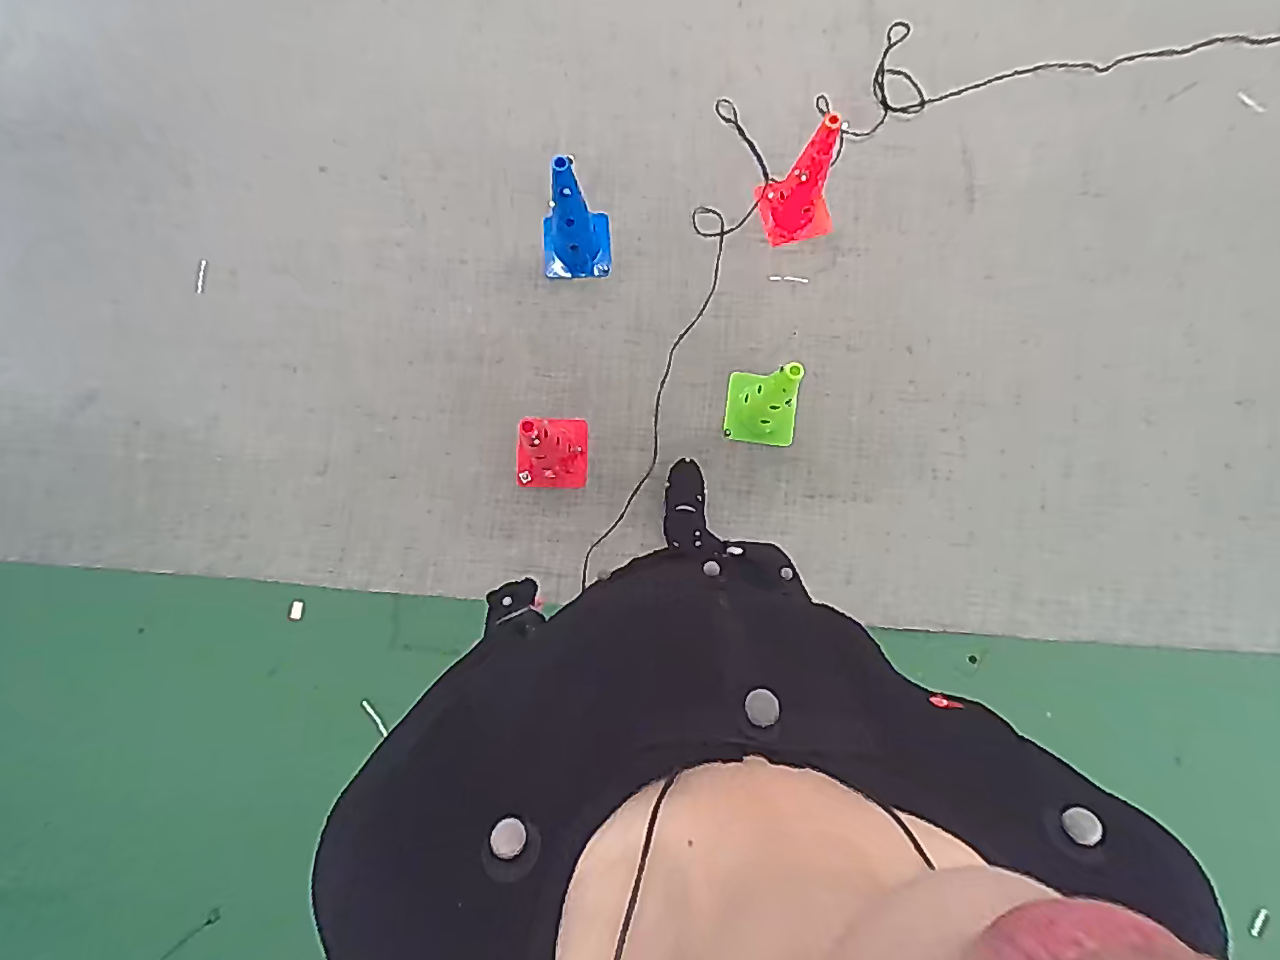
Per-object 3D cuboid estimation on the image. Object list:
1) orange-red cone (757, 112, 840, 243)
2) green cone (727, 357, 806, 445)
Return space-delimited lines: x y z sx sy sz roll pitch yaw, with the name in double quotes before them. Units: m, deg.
"orange-red cone" 0.459 -0.834 1.450 0.198 0.360 0.199 -14 85 0
"green cone" 0.354 -0.226 1.376 0.200 0.368 0.202 6 82 1
